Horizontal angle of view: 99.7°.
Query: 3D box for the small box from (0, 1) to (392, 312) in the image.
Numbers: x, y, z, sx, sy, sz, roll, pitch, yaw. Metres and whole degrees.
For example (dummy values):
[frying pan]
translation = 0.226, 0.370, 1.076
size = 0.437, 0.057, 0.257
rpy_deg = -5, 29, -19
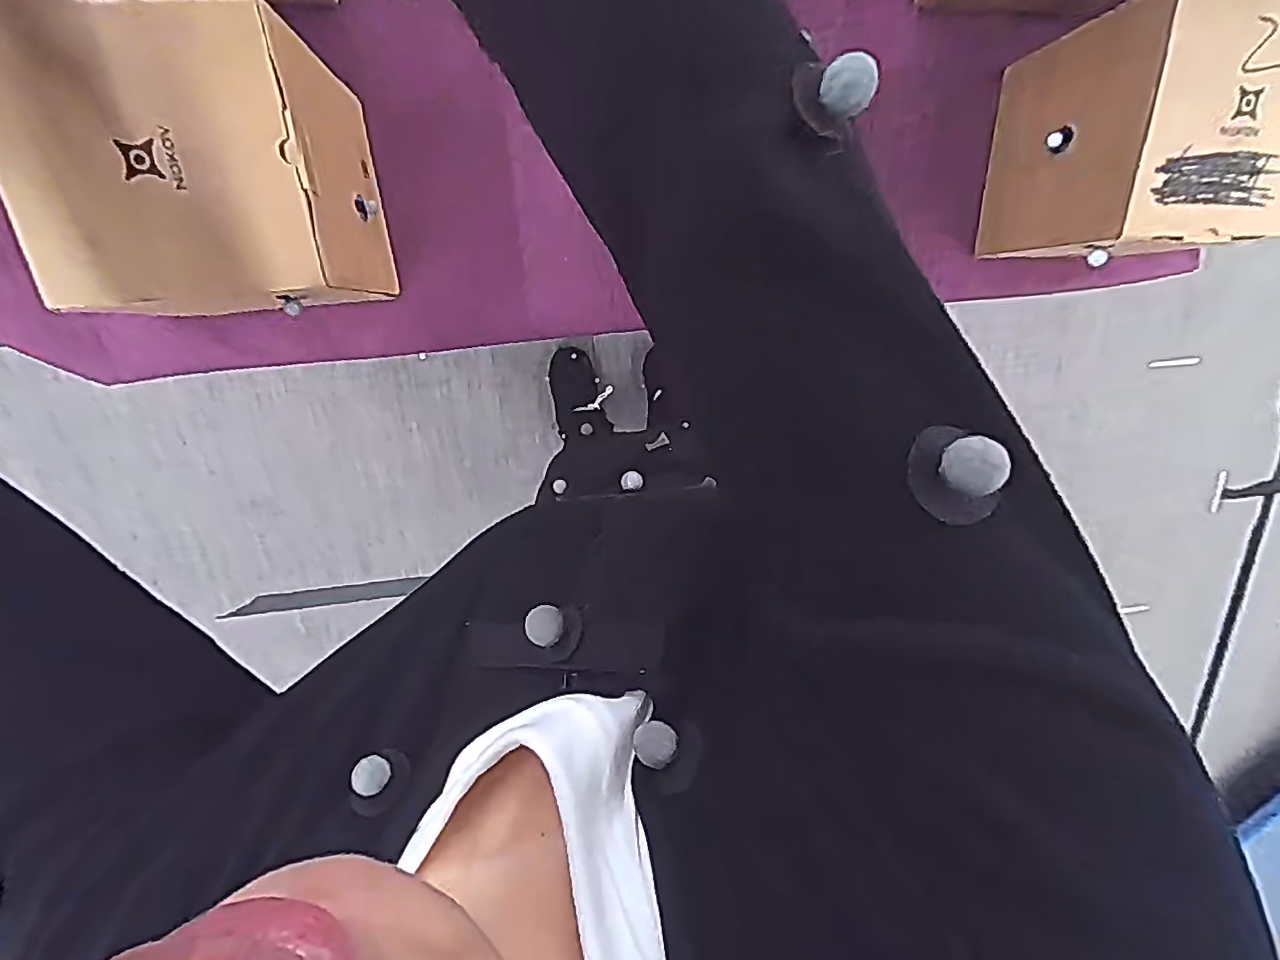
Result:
[small box]
translation = -0.320, -0.224, 0.417
size = 0.179, 0.176, 0.168
rpy_deg = -8, 108, -7
